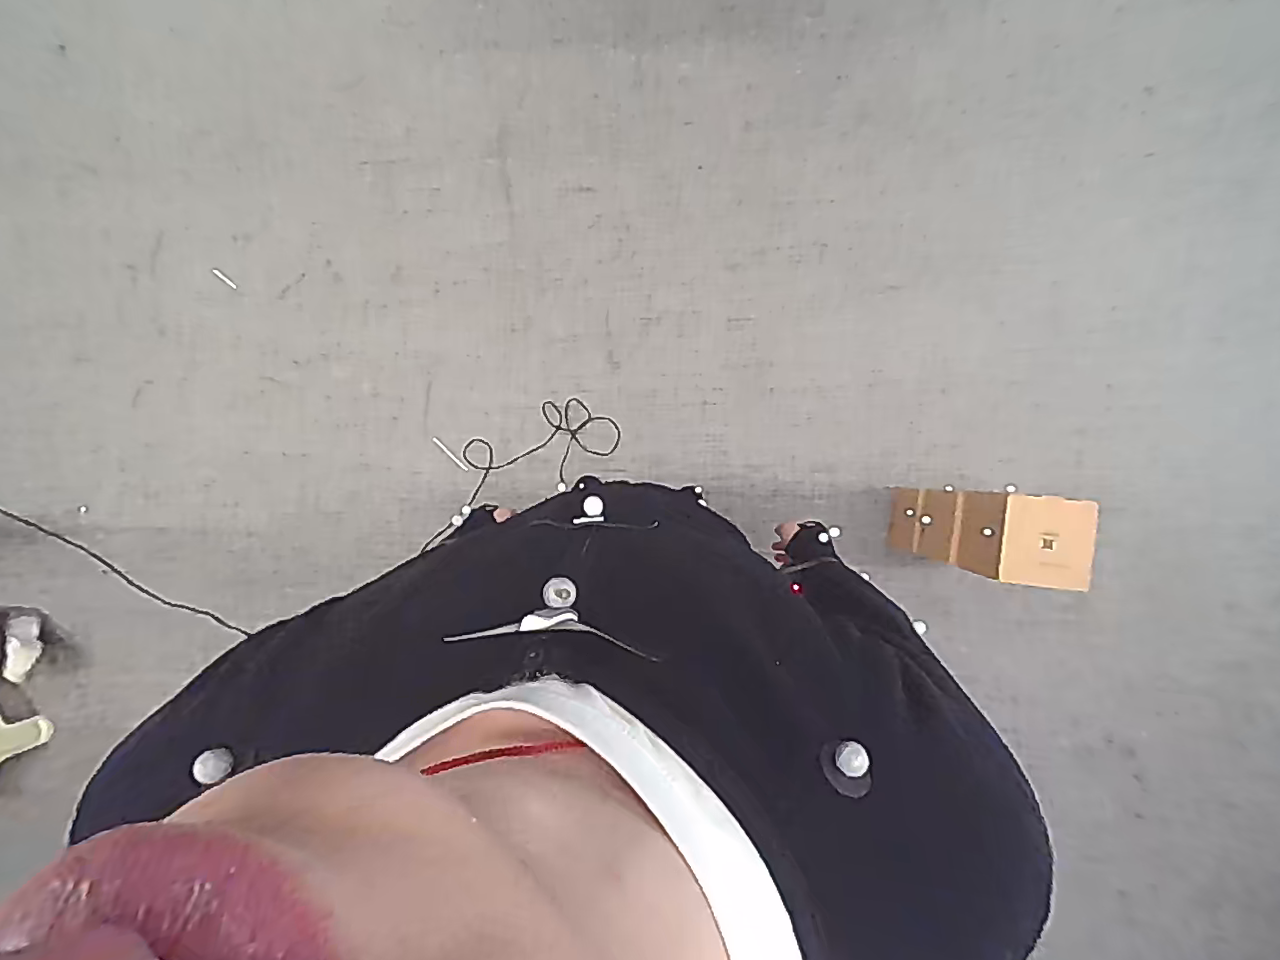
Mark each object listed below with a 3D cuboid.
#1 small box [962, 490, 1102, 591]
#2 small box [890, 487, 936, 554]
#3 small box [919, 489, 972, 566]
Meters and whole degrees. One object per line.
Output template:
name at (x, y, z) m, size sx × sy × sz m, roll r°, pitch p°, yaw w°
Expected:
small box at (0.786, 0.115, 1.103) m, size 0.168 × 0.176 × 0.179 m, roll 6°, pitch 92°, yaw 5°
small box at (0.791, 0.110, 1.429) m, size 0.179 × 0.176 × 0.168 m, roll 7°, pitch 91°, yaw 4°
small box at (0.789, 0.114, 1.264) m, size 0.179 × 0.176 × 0.168 m, roll 8°, pitch 91°, yaw 5°
